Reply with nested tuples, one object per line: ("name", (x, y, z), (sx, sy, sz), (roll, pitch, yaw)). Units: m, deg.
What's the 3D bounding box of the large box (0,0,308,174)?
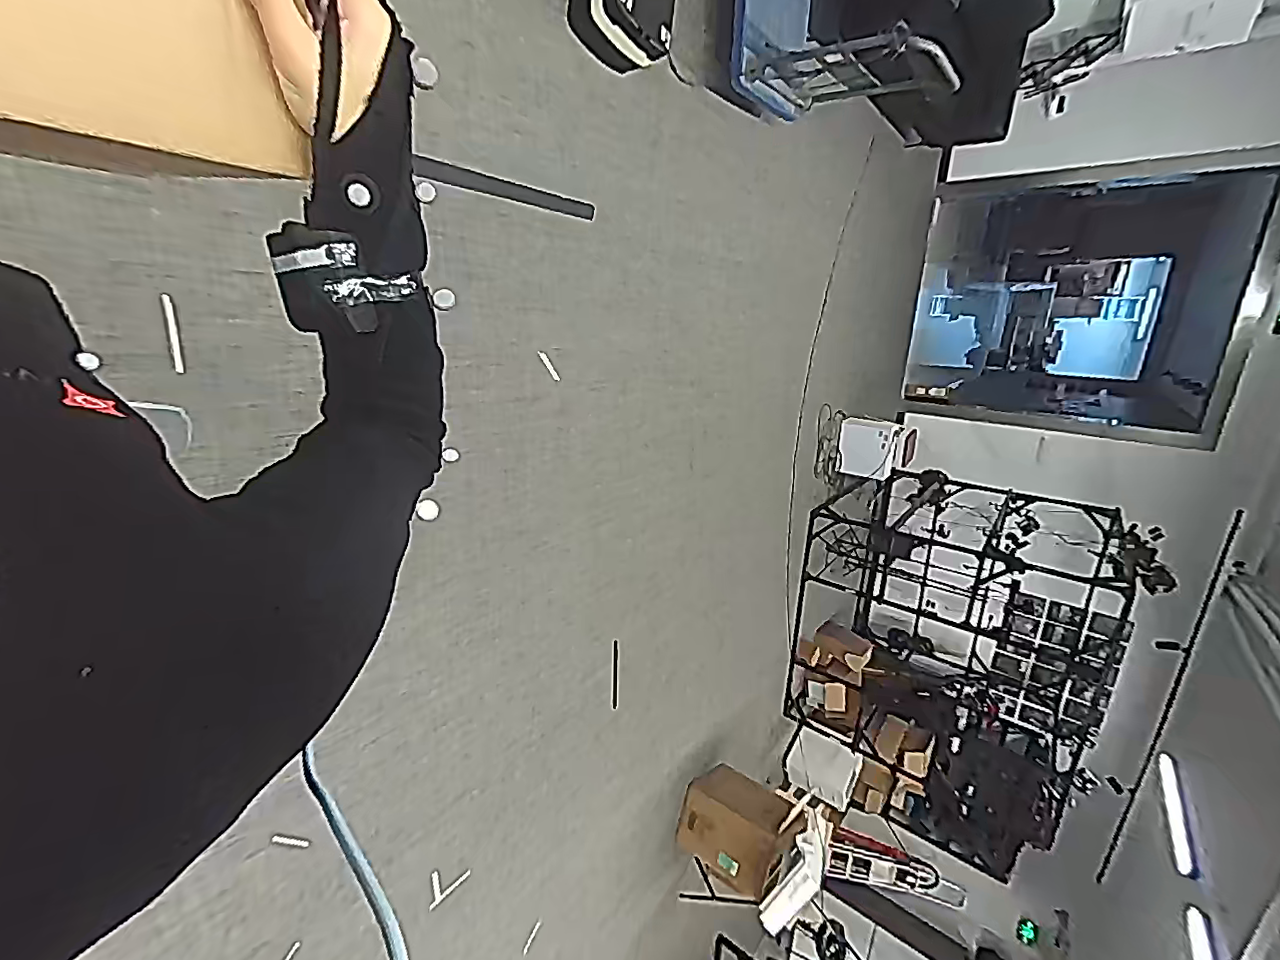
("large box", (-0.420, -0.324, 0.196), (0.408, 0.320, 0.320), (-21, 126, -52))
